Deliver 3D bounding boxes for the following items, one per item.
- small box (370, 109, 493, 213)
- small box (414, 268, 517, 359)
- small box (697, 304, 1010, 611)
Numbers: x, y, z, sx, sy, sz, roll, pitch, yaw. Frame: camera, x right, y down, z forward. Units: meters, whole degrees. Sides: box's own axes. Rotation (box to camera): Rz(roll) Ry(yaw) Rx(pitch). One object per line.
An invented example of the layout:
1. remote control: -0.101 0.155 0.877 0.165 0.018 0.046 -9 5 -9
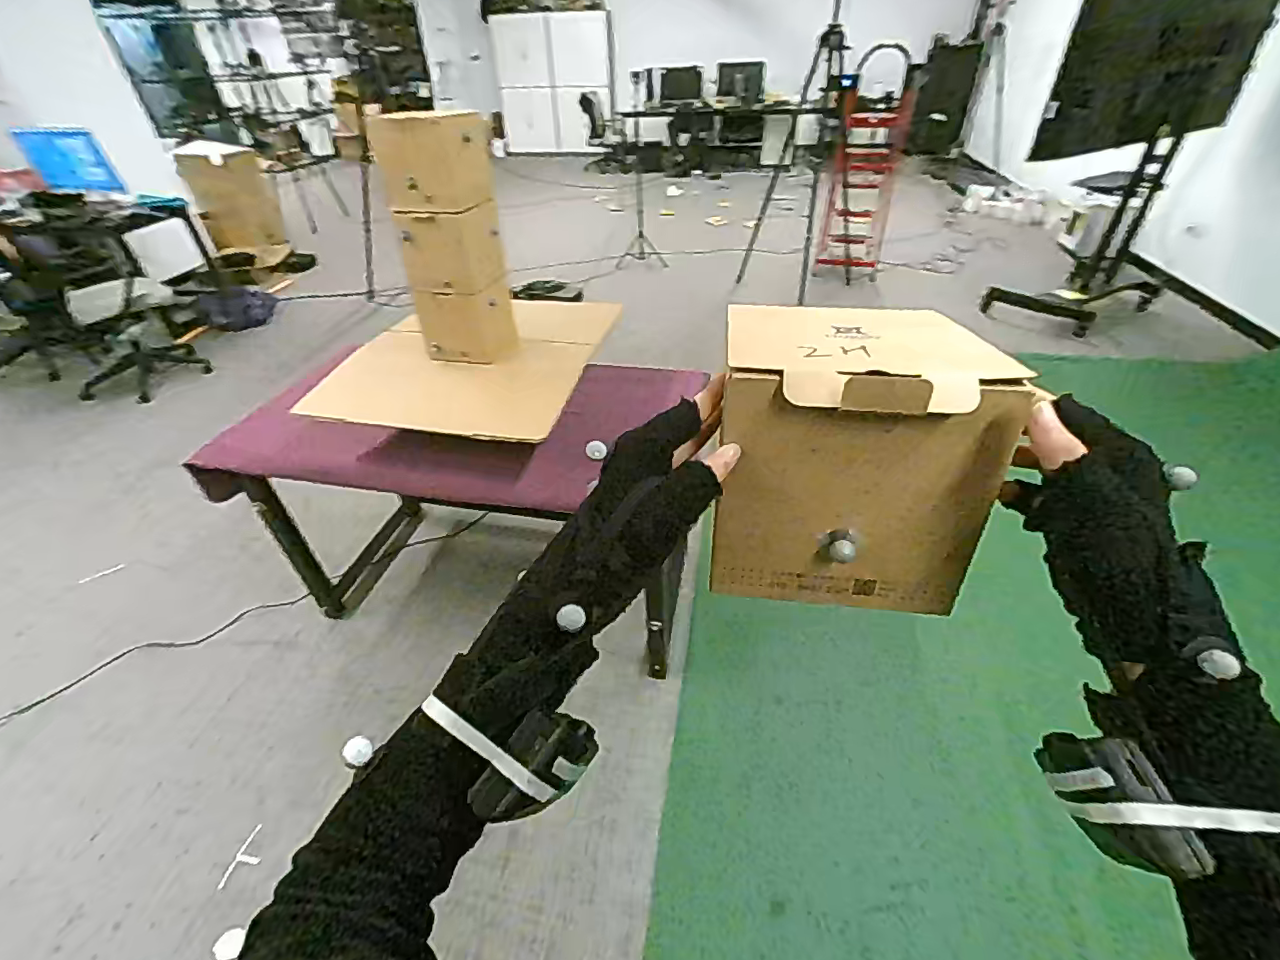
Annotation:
1. small box: -0.424 -0.672 1.135 0.168 0.176 0.179 6 39 11
2. small box: -0.418 -0.412 1.334 0.168 0.176 0.179 7 39 12
3. small box: 0.132 -0.028 0.413 0.168 0.176 0.179 3 31 7
